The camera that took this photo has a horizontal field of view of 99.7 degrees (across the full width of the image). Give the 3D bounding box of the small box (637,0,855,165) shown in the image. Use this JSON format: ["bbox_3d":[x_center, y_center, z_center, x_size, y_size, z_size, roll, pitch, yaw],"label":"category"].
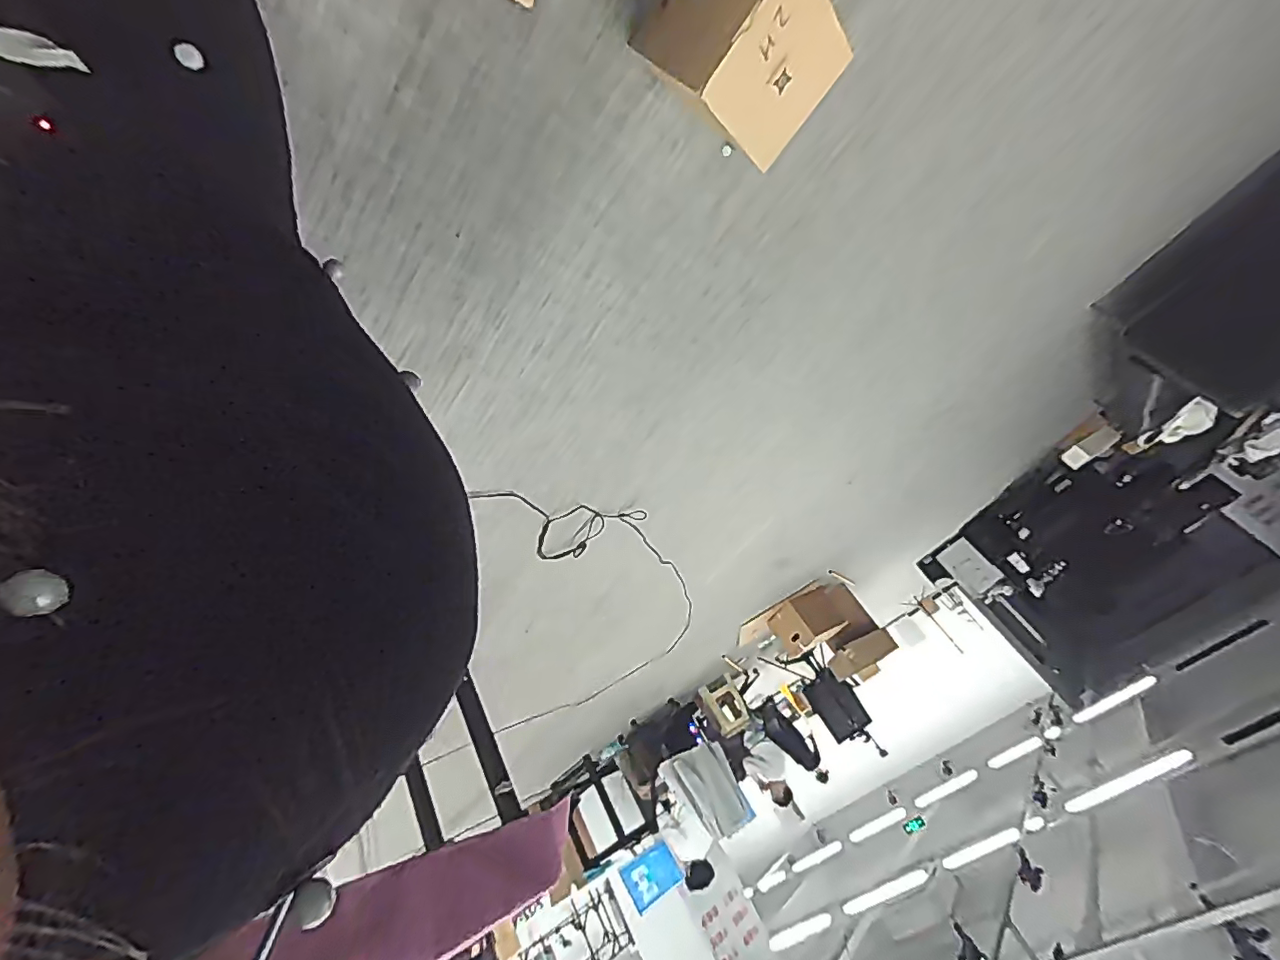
[{"bbox_3d":[0.132,-0.557,0.689,0.179,0.176,0.168,9,130,-51],"label":"small box"}]
